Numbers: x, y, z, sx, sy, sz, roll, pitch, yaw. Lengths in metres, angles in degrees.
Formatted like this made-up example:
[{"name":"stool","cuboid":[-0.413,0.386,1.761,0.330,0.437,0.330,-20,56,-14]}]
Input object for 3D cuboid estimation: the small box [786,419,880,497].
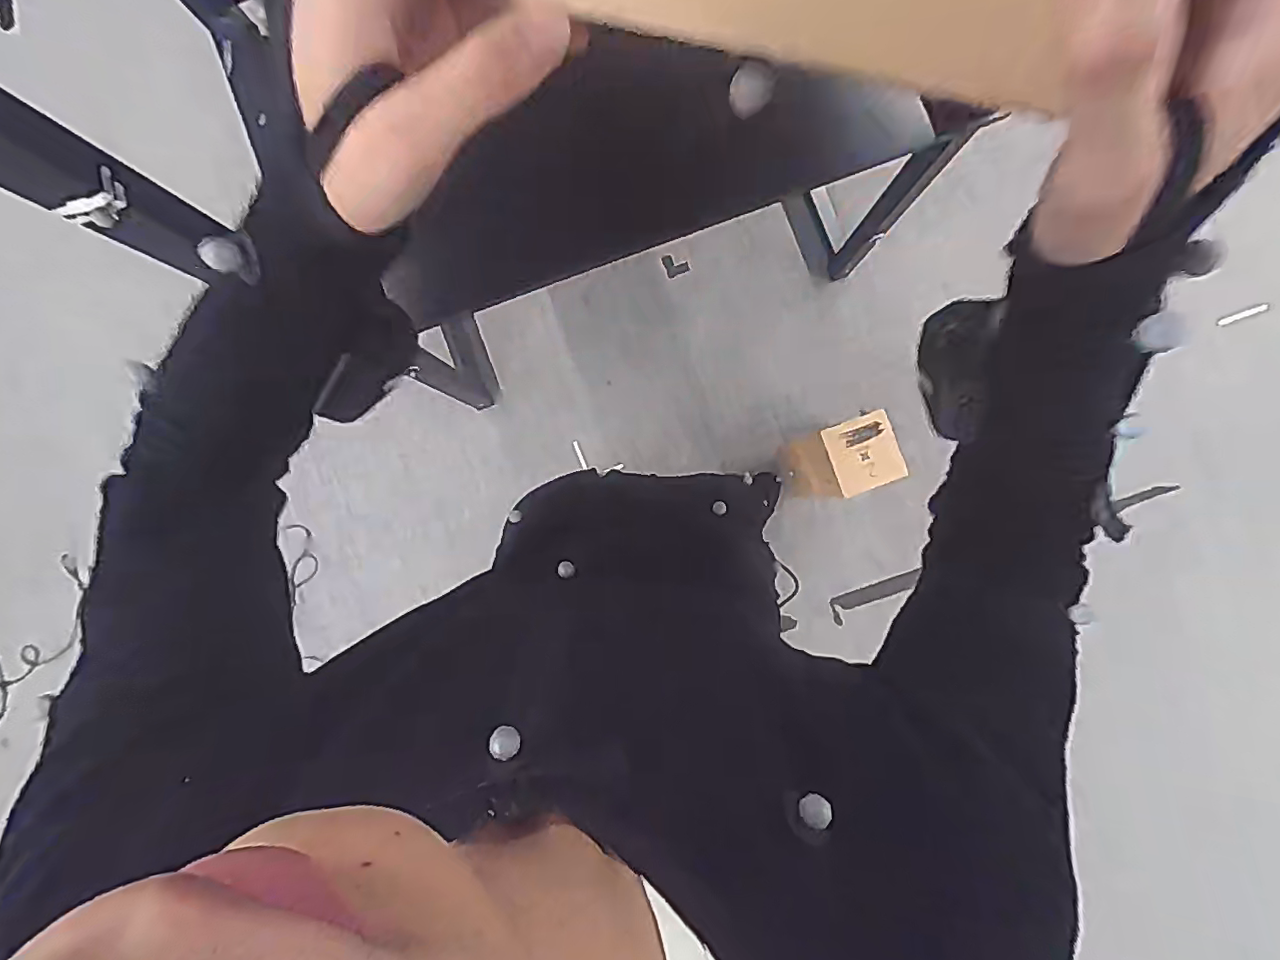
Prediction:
[{"name":"small box","cuboid":[0.537,-0.060,1.528,0.179,0.176,0.168,-22,88,2]}]
